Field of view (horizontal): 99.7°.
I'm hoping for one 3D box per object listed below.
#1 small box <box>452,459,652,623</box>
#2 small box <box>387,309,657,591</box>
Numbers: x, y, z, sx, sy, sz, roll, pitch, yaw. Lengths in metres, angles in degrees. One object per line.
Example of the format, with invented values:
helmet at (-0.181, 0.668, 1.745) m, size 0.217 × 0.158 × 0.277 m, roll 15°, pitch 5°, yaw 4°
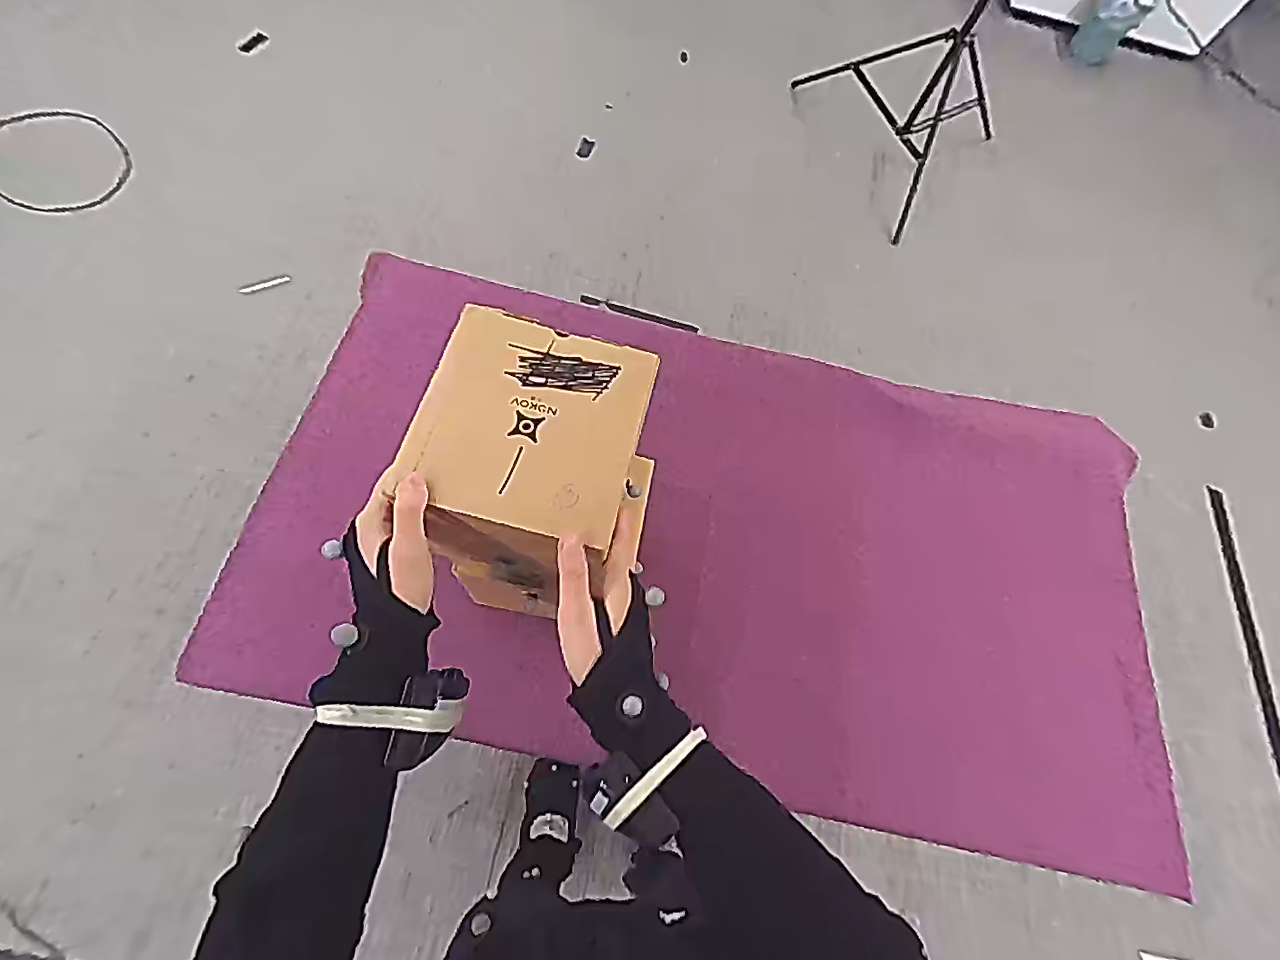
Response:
small box at (-0.096, 0.065, 0.635) m, size 0.179 × 0.176 × 0.168 m, roll 12°, pitch 66°, yaw -3°
small box at (-0.093, -0.015, 0.489) m, size 0.168 × 0.176 × 0.179 m, roll 15°, pitch 67°, yaw -1°
